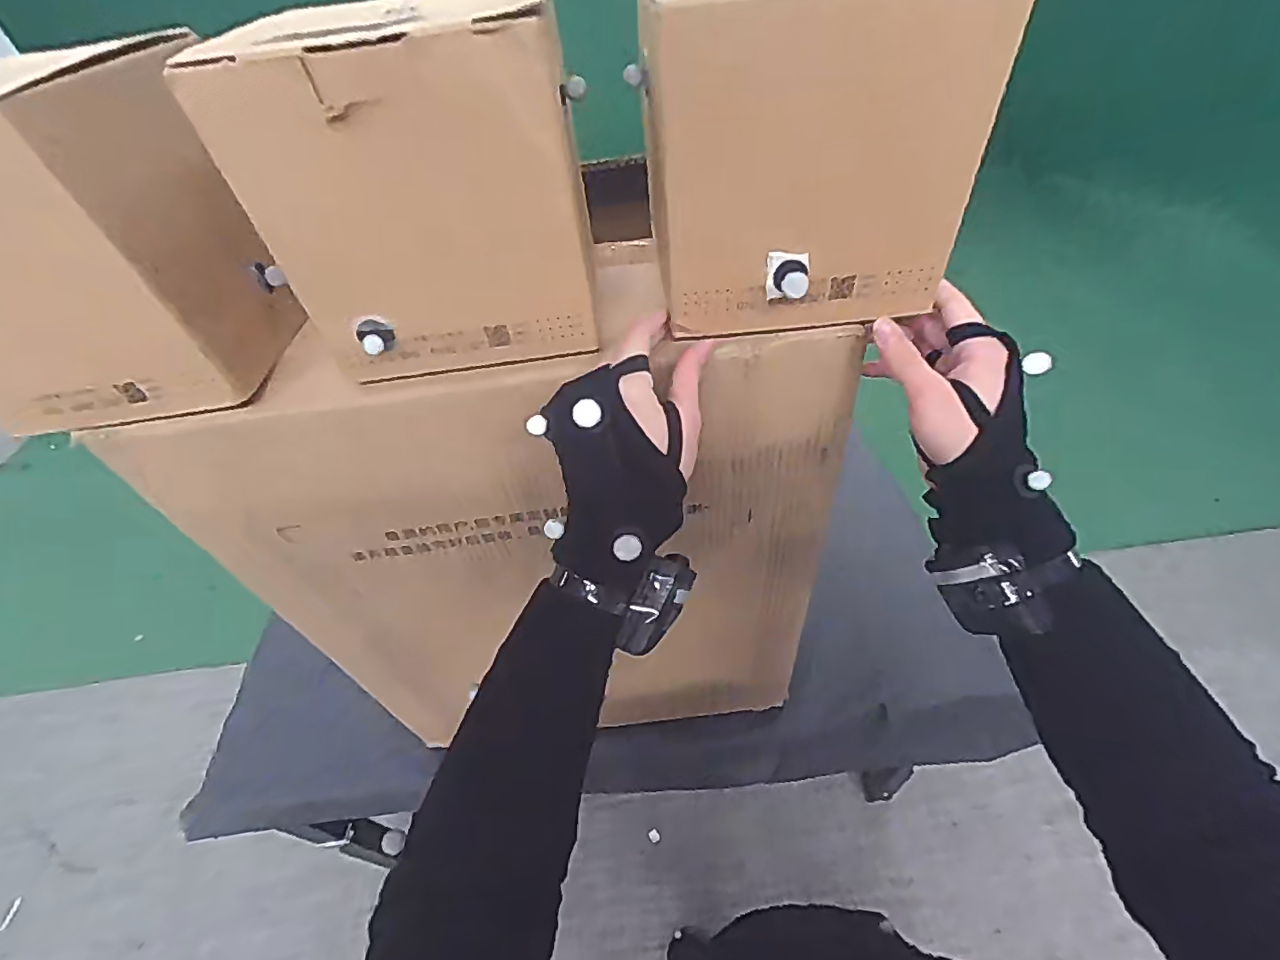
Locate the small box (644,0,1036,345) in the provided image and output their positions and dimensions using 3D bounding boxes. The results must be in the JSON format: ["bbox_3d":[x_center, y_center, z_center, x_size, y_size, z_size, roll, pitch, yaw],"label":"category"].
[{"bbox_3d":[0.093,-0.210,0.348,0.168,0.176,0.179,-7,48,2],"label":"small box"}]

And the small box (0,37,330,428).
[{"bbox_3d":[-0.341,-0.158,0.352,0.168,0.176,0.179,-8,46,4],"label":"small box"}]
